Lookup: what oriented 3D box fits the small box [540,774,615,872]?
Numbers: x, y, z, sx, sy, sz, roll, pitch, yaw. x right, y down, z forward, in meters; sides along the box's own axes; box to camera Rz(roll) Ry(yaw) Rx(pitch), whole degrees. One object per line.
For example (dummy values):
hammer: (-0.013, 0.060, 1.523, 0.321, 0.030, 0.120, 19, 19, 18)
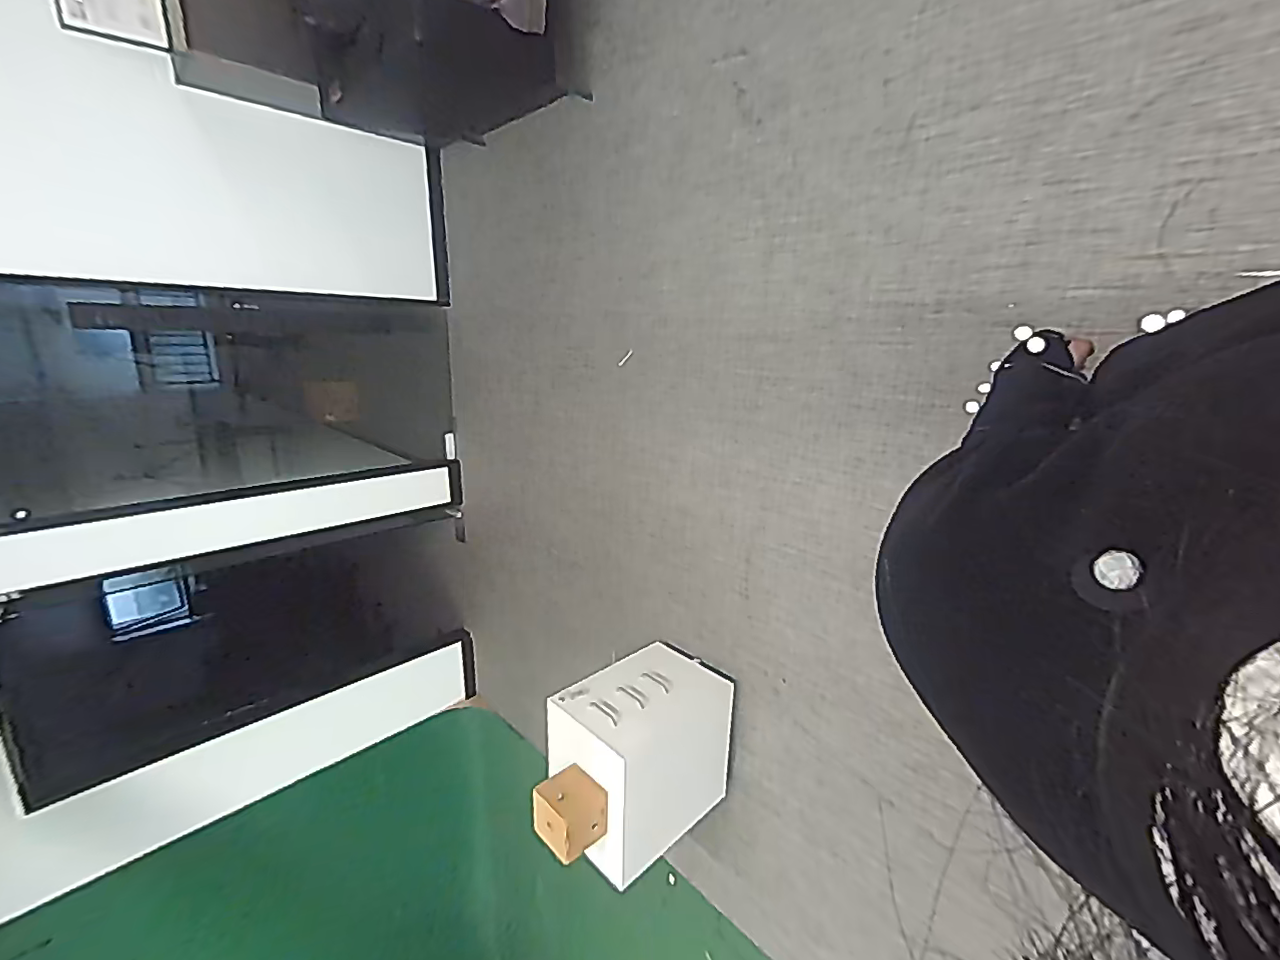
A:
small box: (-0.197, 1.064, 1.701, 0.179, 0.176, 0.168, 15, 110, 45)
